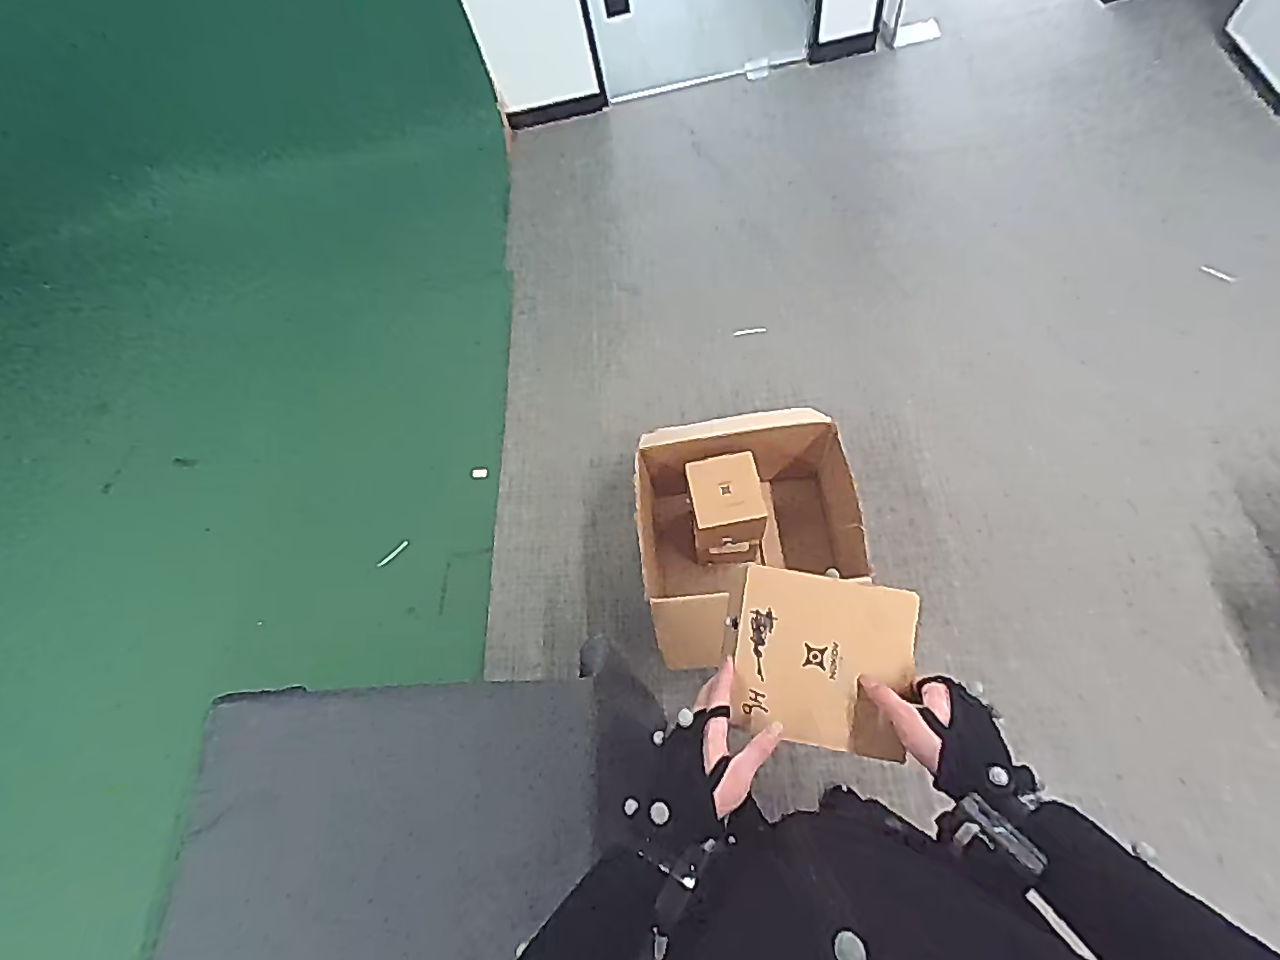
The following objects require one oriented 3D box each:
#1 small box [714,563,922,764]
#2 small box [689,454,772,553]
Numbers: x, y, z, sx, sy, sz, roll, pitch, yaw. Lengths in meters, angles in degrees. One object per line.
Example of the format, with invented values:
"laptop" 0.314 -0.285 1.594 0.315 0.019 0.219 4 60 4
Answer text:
"small box" 0.188 0.194 0.616 0.179 0.176 0.168 10 79 6
"small box" 0.218 0.062 1.336 0.168 0.176 0.179 -11 64 3
